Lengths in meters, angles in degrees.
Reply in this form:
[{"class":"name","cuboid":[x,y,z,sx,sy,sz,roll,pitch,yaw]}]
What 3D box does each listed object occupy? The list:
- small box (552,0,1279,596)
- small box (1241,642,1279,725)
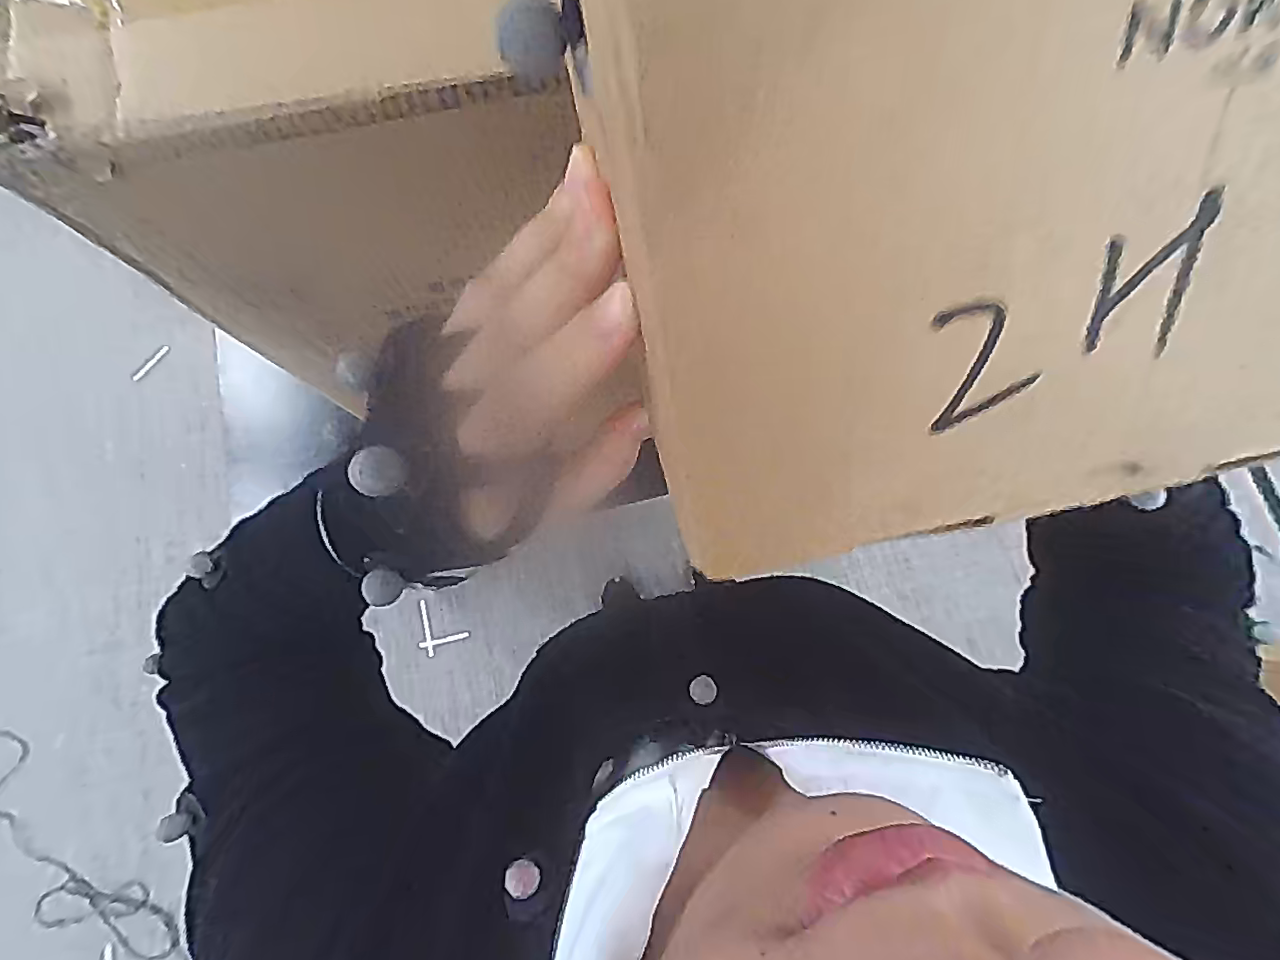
[{"class":"small box","cuboid":[0.066,-0.106,0.132,0.168,0.176,0.179,-12,121,1]},{"class":"small box","cuboid":[1.543,0.462,1.216,0.168,0.176,0.179,-18,79,-3]}]
